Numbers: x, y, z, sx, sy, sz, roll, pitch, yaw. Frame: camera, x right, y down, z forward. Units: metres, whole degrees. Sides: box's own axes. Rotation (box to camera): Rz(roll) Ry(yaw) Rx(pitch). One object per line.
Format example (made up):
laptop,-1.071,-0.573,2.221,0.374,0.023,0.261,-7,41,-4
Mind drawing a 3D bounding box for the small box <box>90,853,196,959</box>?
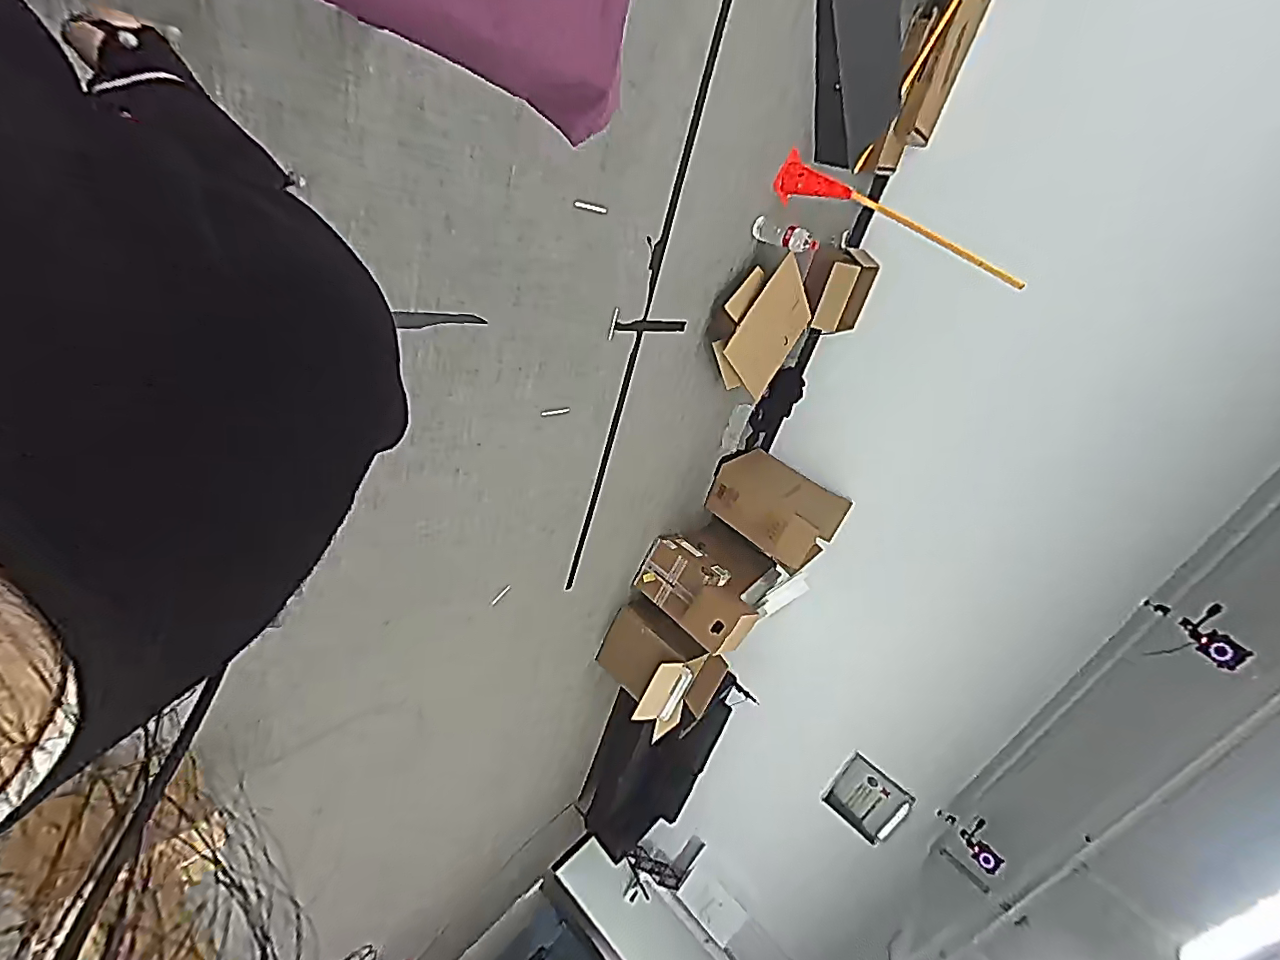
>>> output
small box,-1.379,1.198,1.505,0.179,0.176,0.168,-18,134,-47
